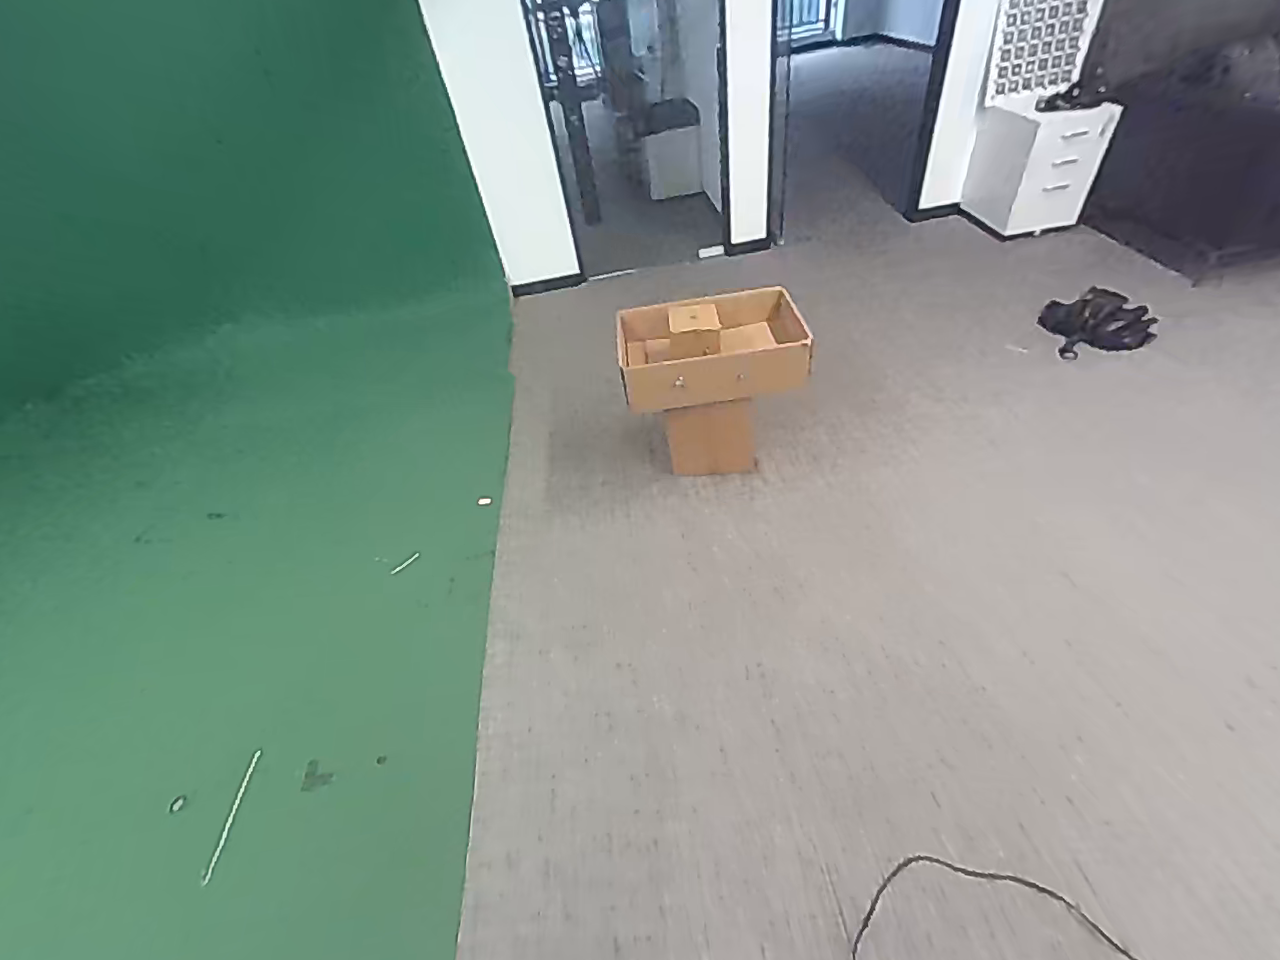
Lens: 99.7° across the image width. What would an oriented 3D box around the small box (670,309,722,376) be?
[{"bbox_3d":[0.195,-0.473,1.888,0.168,0.176,0.179,-5,41,3],"label":"small box"}]
